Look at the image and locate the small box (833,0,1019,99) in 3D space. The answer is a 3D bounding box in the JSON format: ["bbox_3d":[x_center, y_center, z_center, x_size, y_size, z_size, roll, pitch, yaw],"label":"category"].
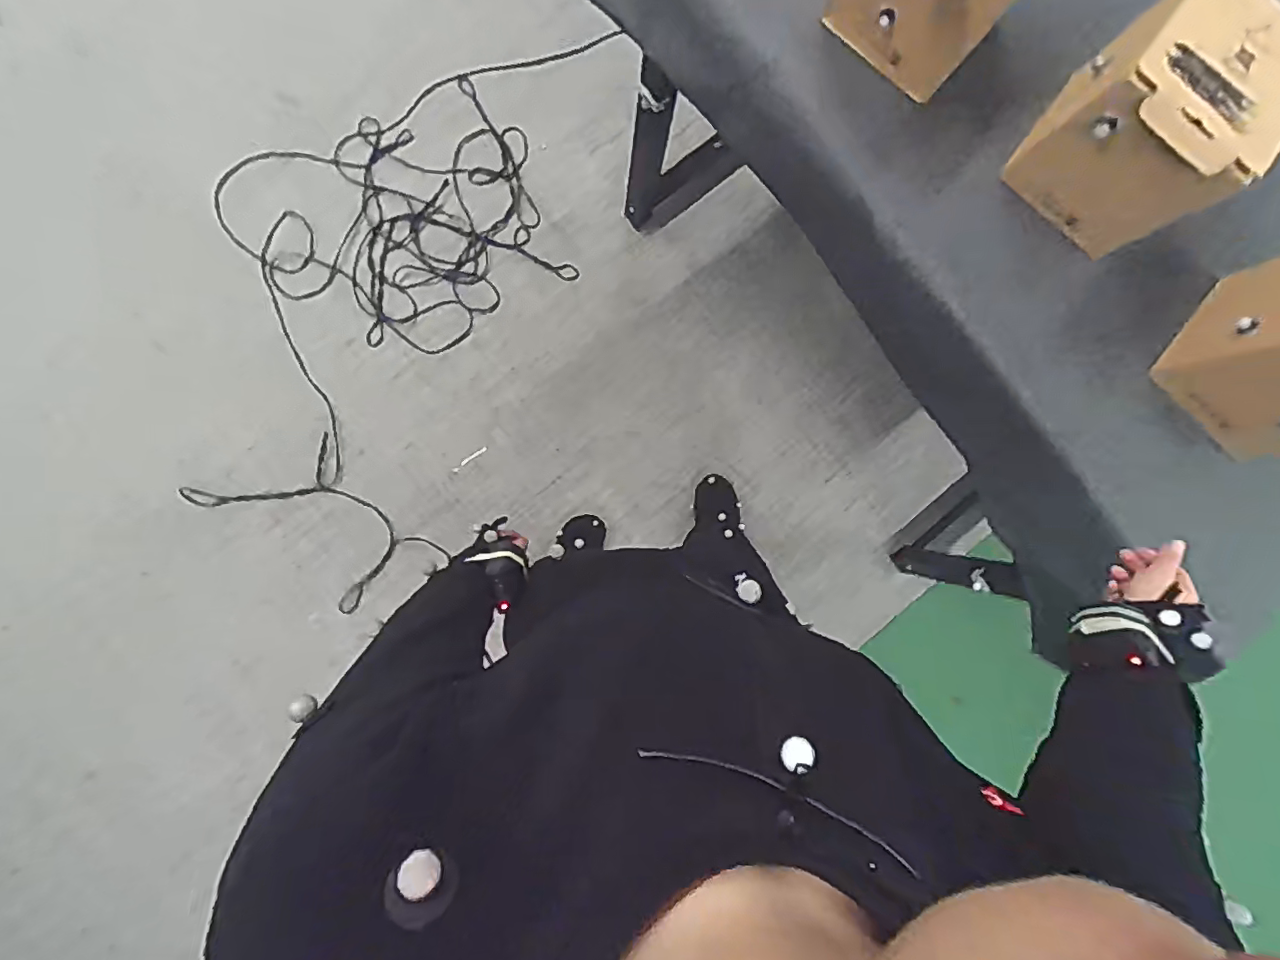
[{"bbox_3d":[0.346,-0.582,0.590,0.168,0.176,0.179,37,86,-4],"label":"small box"}]

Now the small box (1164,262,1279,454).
[{"bbox_3d":[0.771,-0.146,0.619,0.168,0.176,0.179,41,84,-4],"label":"small box"}]
